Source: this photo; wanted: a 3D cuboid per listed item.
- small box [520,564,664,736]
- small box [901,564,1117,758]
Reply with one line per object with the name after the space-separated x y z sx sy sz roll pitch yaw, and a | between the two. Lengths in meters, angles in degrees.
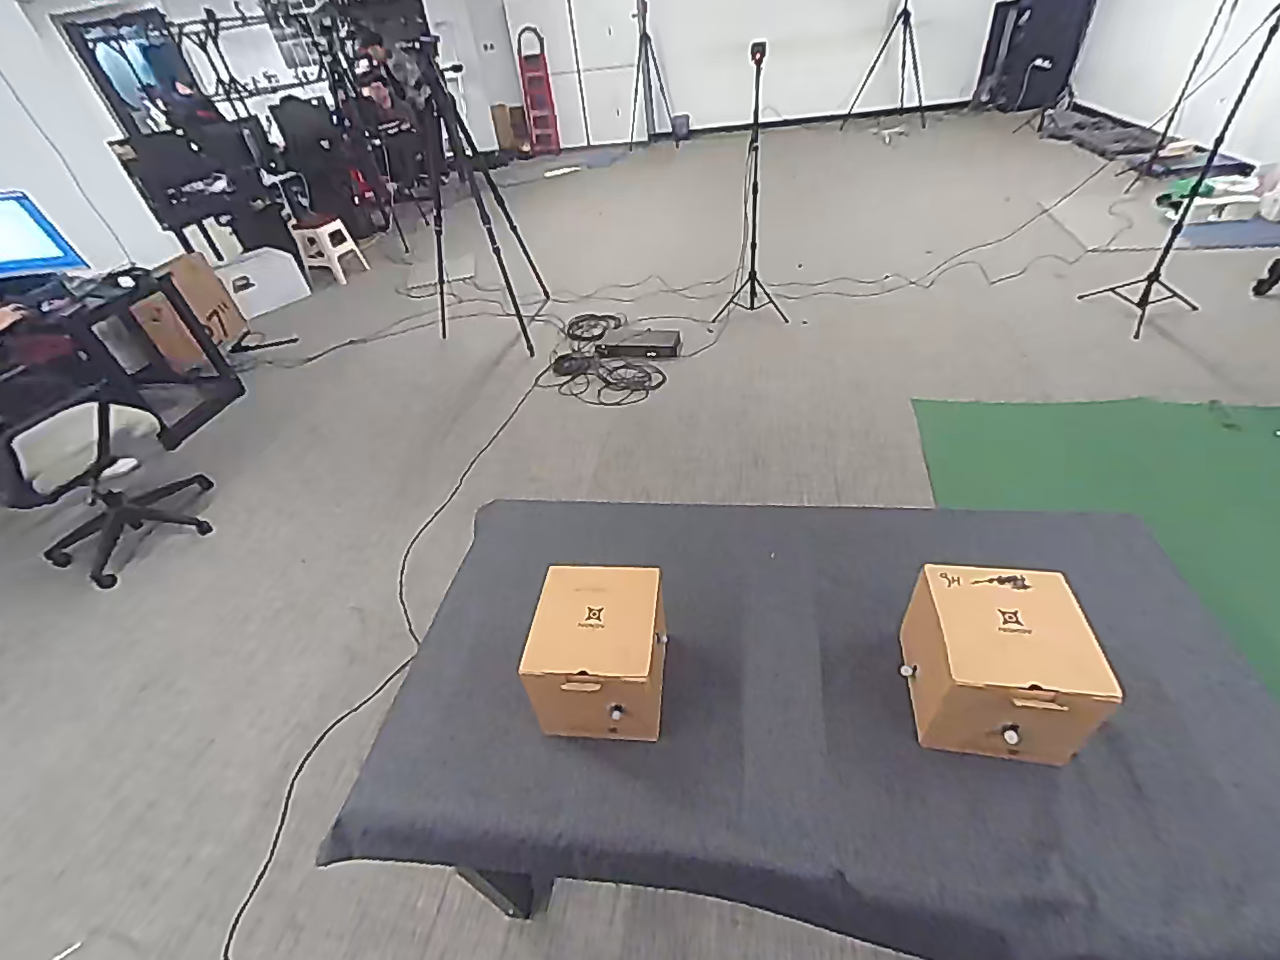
-0.054 0.242 0.772 0.168 0.176 0.179 1 39 7 | small box
0.453 0.234 0.701 0.168 0.176 0.179 3 42 12 | small box
